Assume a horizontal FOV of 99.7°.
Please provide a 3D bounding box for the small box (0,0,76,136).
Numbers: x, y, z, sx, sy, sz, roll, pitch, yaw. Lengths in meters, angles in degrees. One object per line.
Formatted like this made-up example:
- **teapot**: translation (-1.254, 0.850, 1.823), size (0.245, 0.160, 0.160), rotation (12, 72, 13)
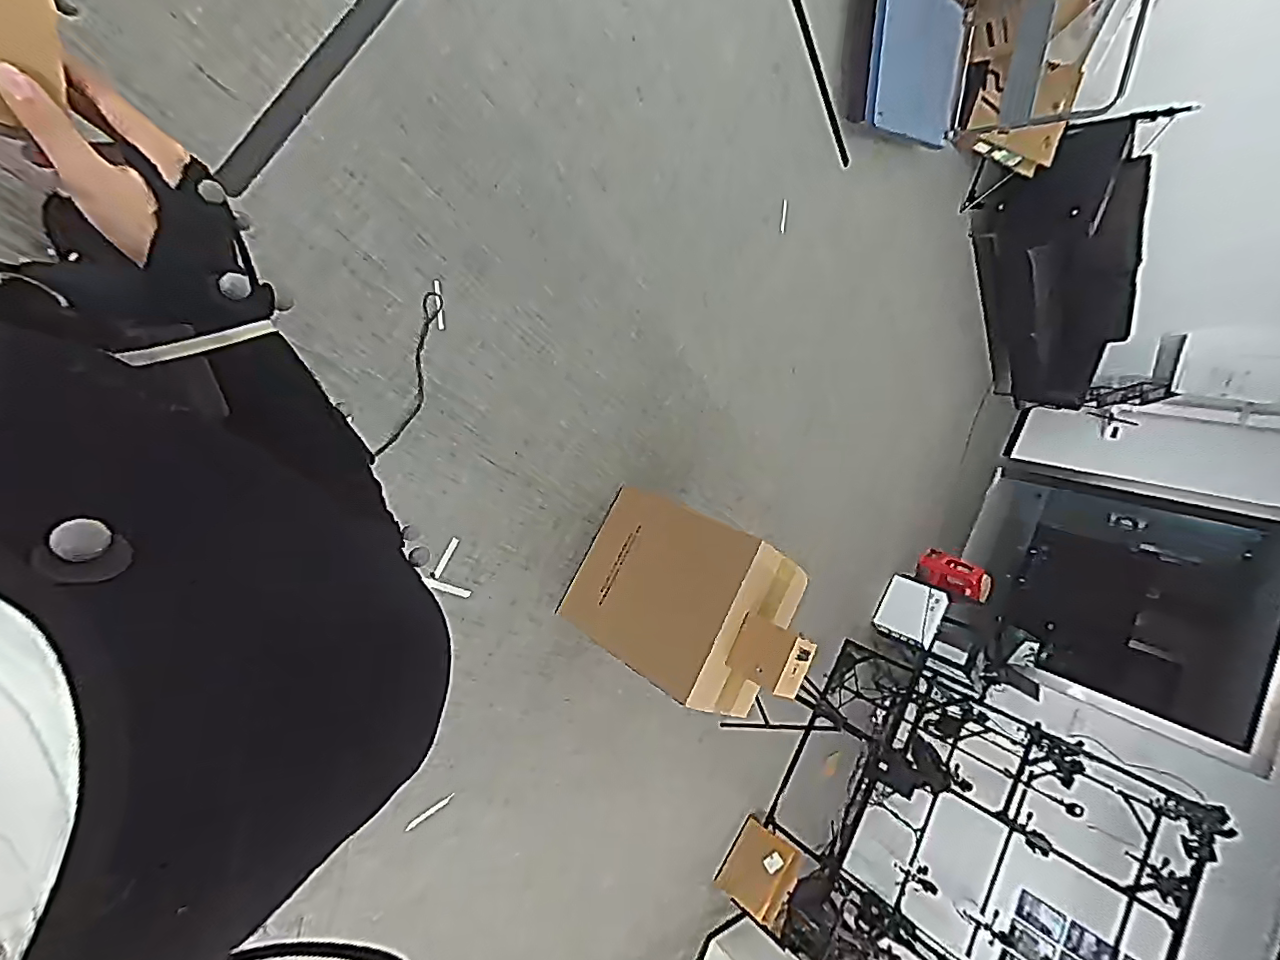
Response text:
- **small box**: translation (-0.397, -0.285, 0.252), size (0.168, 0.176, 0.179), rotation (-11, 119, -49)
